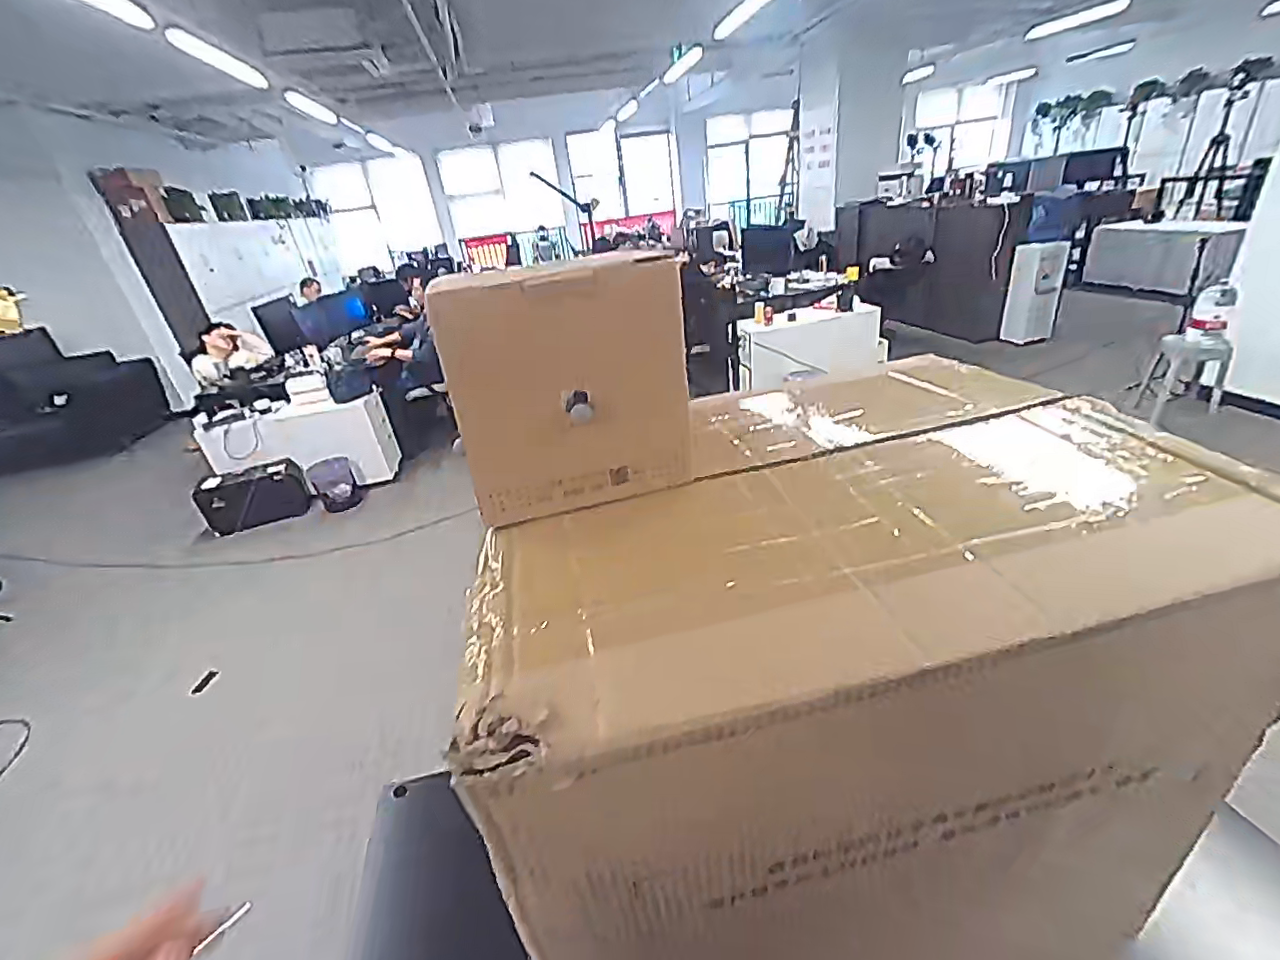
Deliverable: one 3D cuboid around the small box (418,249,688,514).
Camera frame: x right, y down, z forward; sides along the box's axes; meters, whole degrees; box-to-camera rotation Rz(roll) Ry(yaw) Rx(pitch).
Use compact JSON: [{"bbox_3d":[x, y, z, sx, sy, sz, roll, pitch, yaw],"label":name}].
[{"bbox_3d":[-0.067,-0.085,0.445,0.168,0.176,0.179,-13,26,-11],"label":"small box"}]
